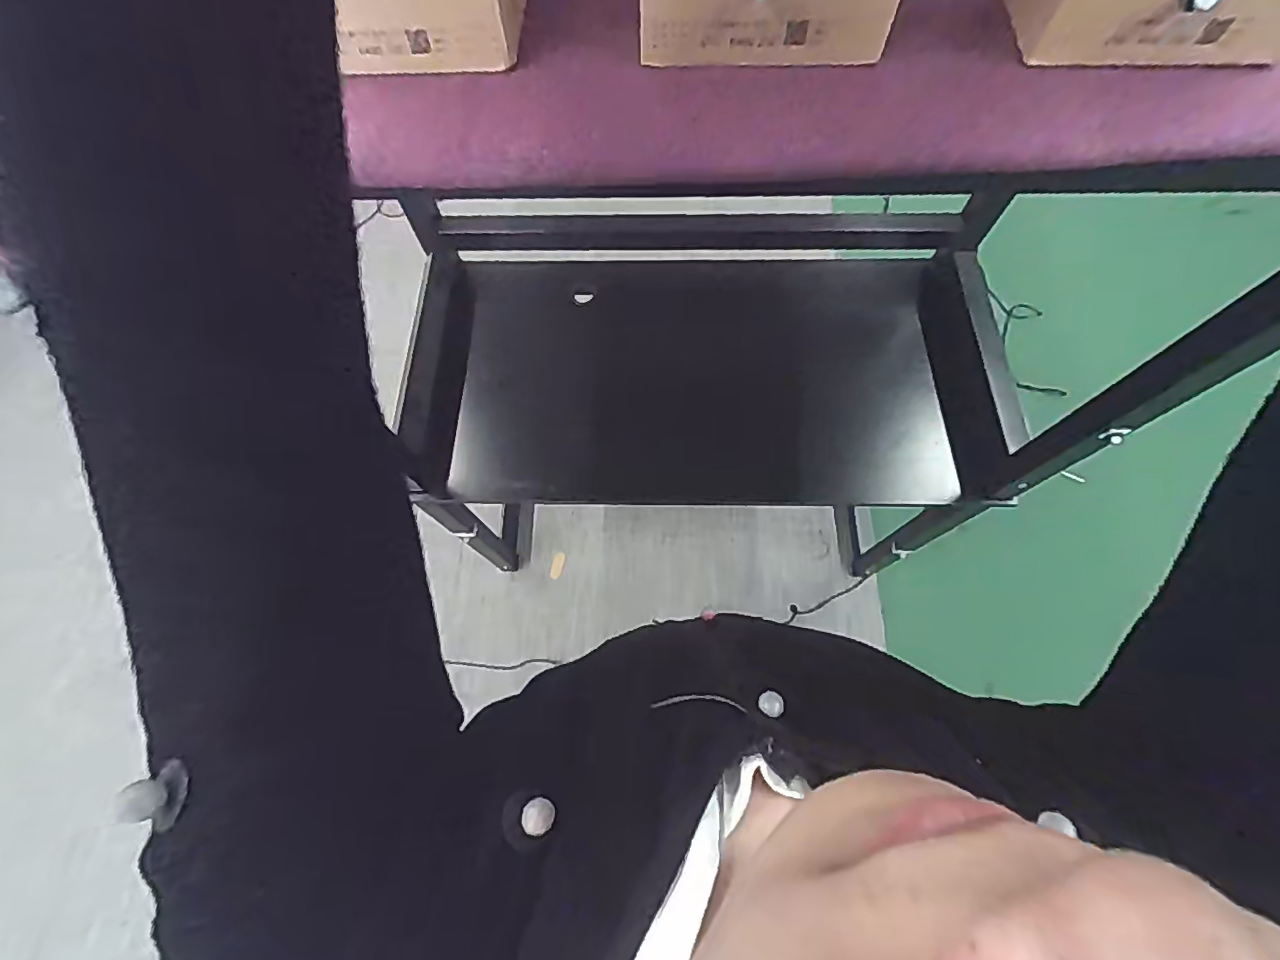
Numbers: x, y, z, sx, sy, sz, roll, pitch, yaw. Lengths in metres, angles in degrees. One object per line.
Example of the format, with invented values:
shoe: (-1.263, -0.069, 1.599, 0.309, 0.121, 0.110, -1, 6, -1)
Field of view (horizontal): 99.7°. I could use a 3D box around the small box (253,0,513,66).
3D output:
small box: (-0.175, -0.400, 0.336, 0.168, 0.176, 0.179, 0, 66, 2)
